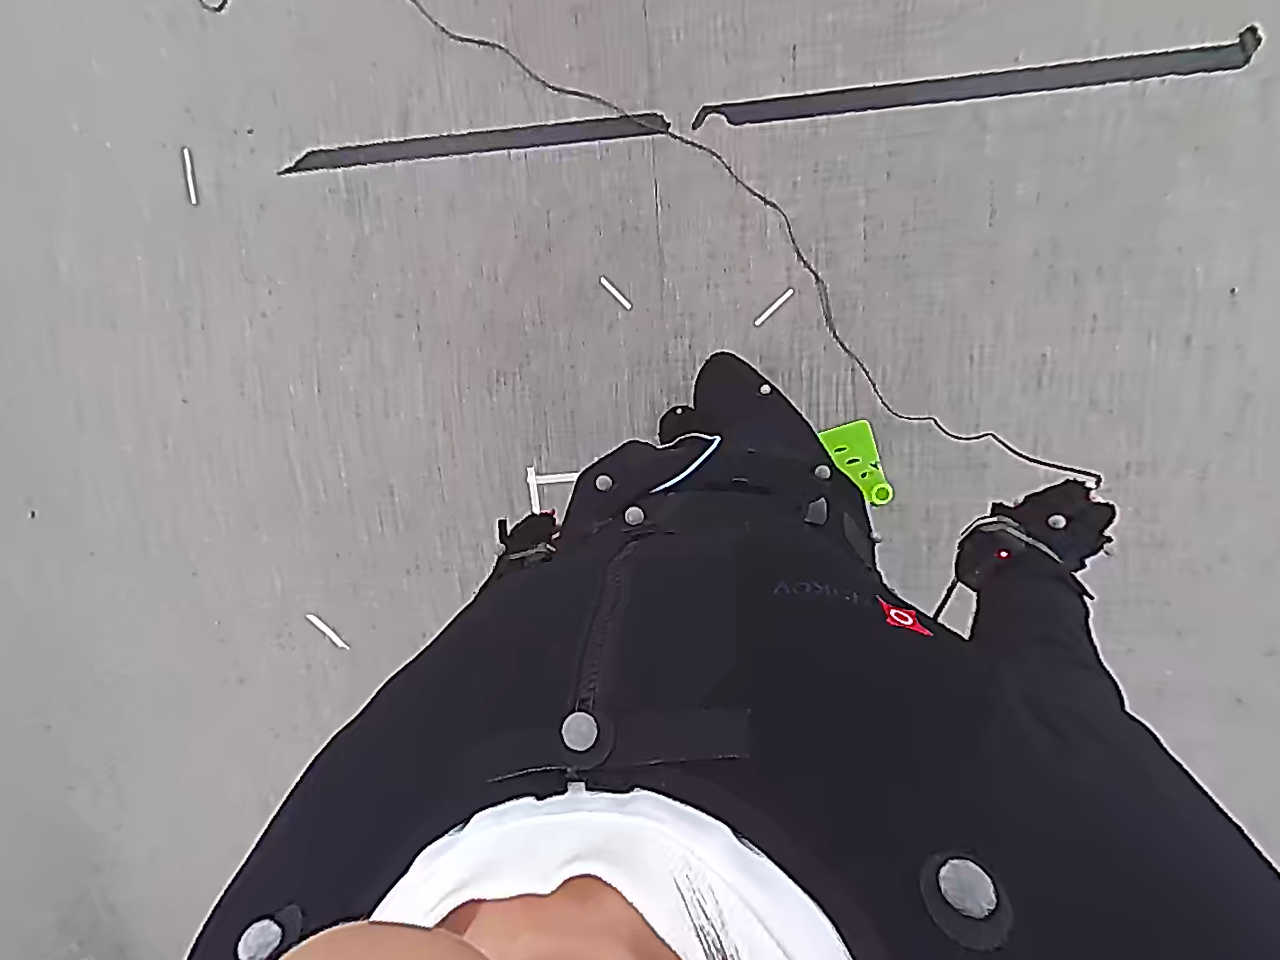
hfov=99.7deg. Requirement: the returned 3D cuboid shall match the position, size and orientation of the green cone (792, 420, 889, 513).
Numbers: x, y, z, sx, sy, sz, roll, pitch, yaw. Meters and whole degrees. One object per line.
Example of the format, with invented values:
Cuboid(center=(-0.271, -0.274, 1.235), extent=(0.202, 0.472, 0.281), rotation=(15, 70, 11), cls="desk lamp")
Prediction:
Cuboid(center=(0.475, -0.006, 1.187), extent=(0.202, 0.368, 0.200), rotation=(-18, 96, 11), cls="green cone")
